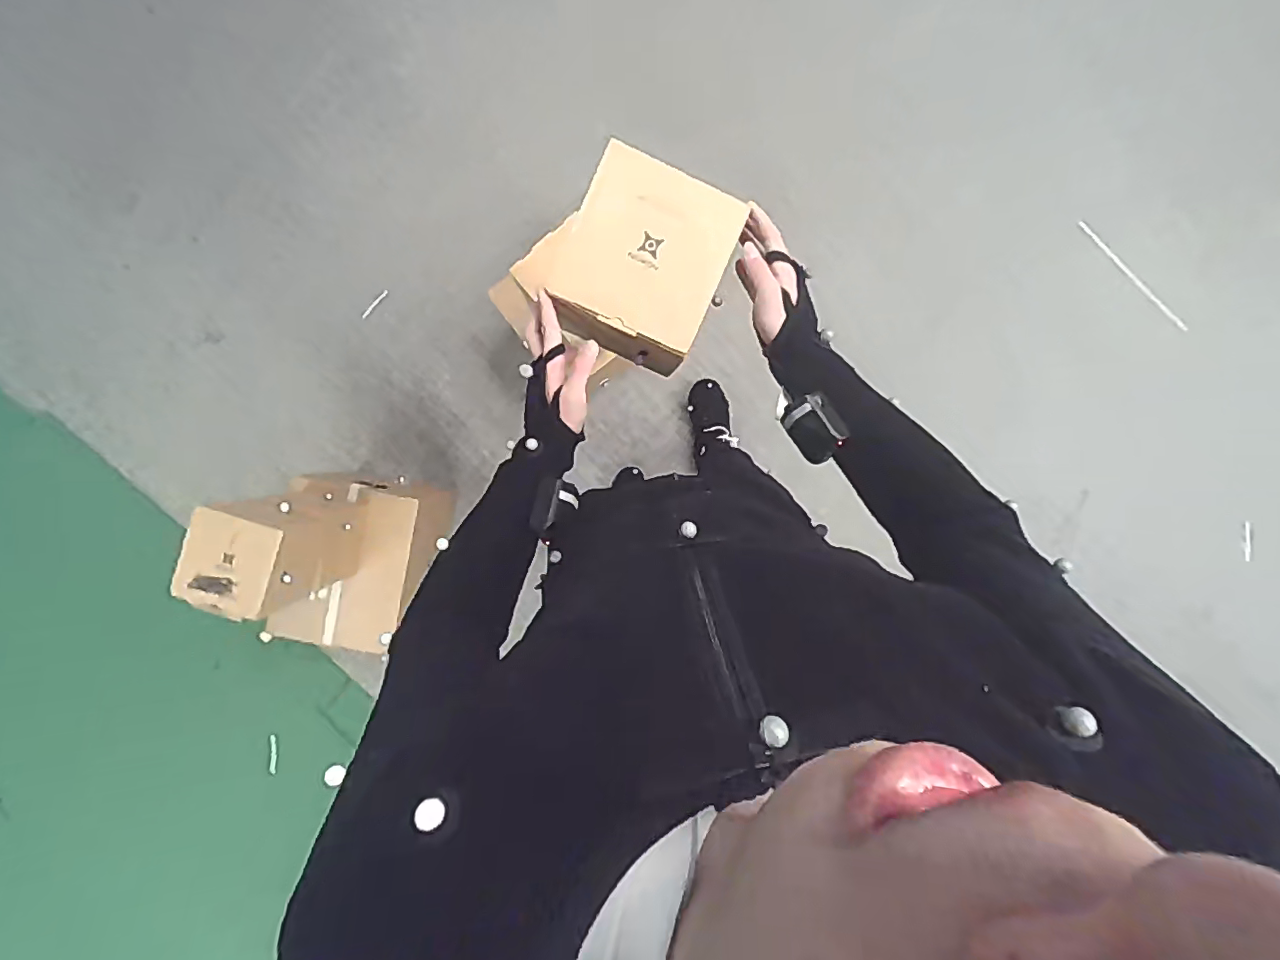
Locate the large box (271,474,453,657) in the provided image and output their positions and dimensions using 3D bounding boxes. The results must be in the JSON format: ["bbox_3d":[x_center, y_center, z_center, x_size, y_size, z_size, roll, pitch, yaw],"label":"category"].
[{"bbox_3d":[-0.729,0.209,1.467,0.320,0.320,0.408,11,94,-1],"label":"large box"}]

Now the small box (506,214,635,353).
[{"bbox_3d":[-0.125,-0.366,1.049,0.168,0.176,0.179,-41,94,1],"label":"small box"}]

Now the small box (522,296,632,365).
[{"bbox_3d":[-0.135,-0.374,1.211,0.168,0.176,0.179,-41,95,0],"label":"small box"}]

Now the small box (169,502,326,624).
[{"bbox_3d":[-0.748,0.152,1.052,0.168,0.176,0.179,18,92,-3],"label":"small box"}]
